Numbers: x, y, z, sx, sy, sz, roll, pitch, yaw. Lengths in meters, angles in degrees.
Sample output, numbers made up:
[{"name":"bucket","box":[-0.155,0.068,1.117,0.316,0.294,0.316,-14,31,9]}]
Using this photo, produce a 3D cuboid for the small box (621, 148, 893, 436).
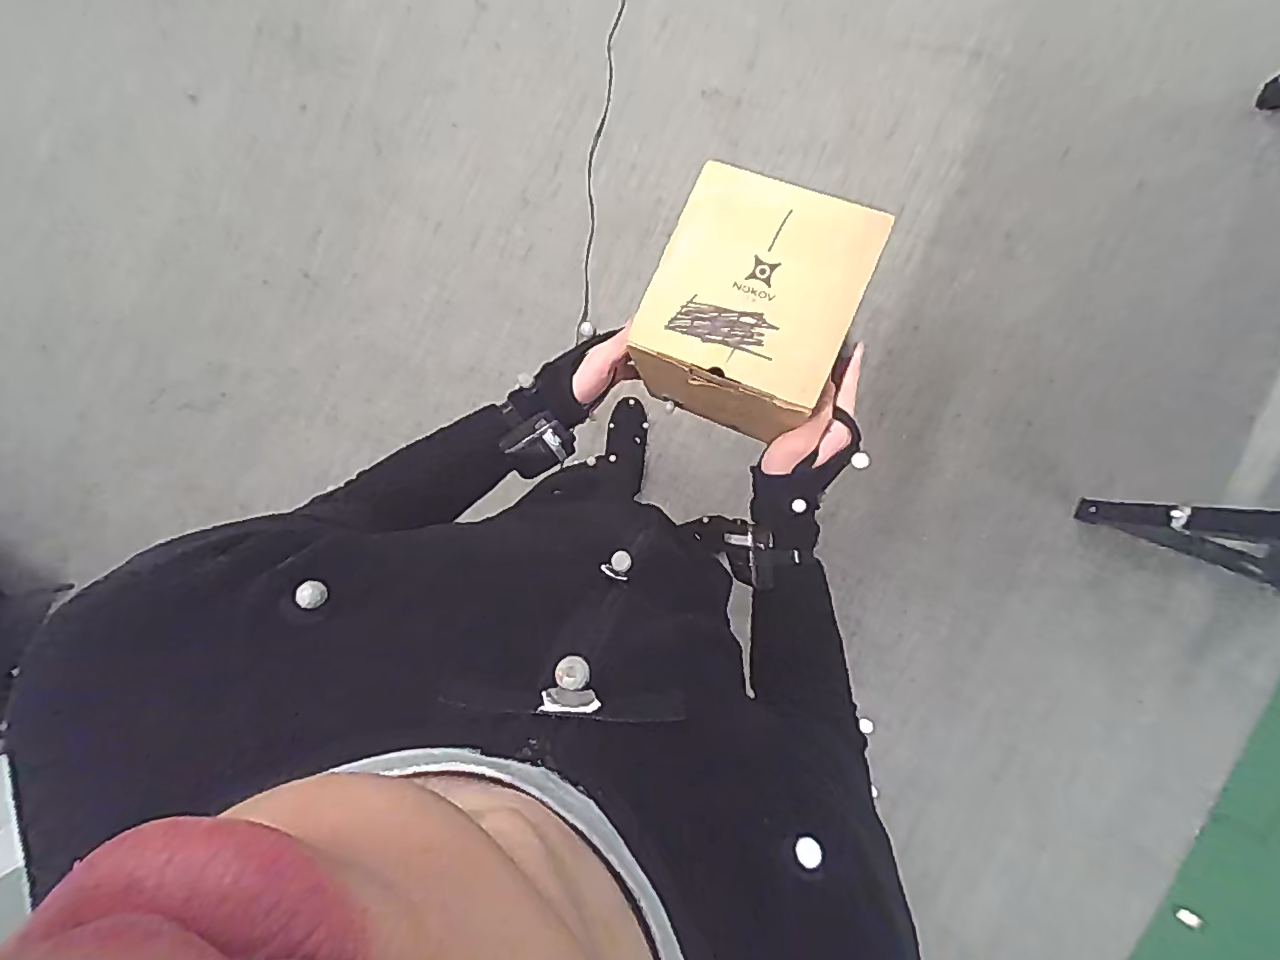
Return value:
[{"name":"small box","box":[0.104,-0.158,0.511,0.168,0.176,0.179,24,87,10]}]
